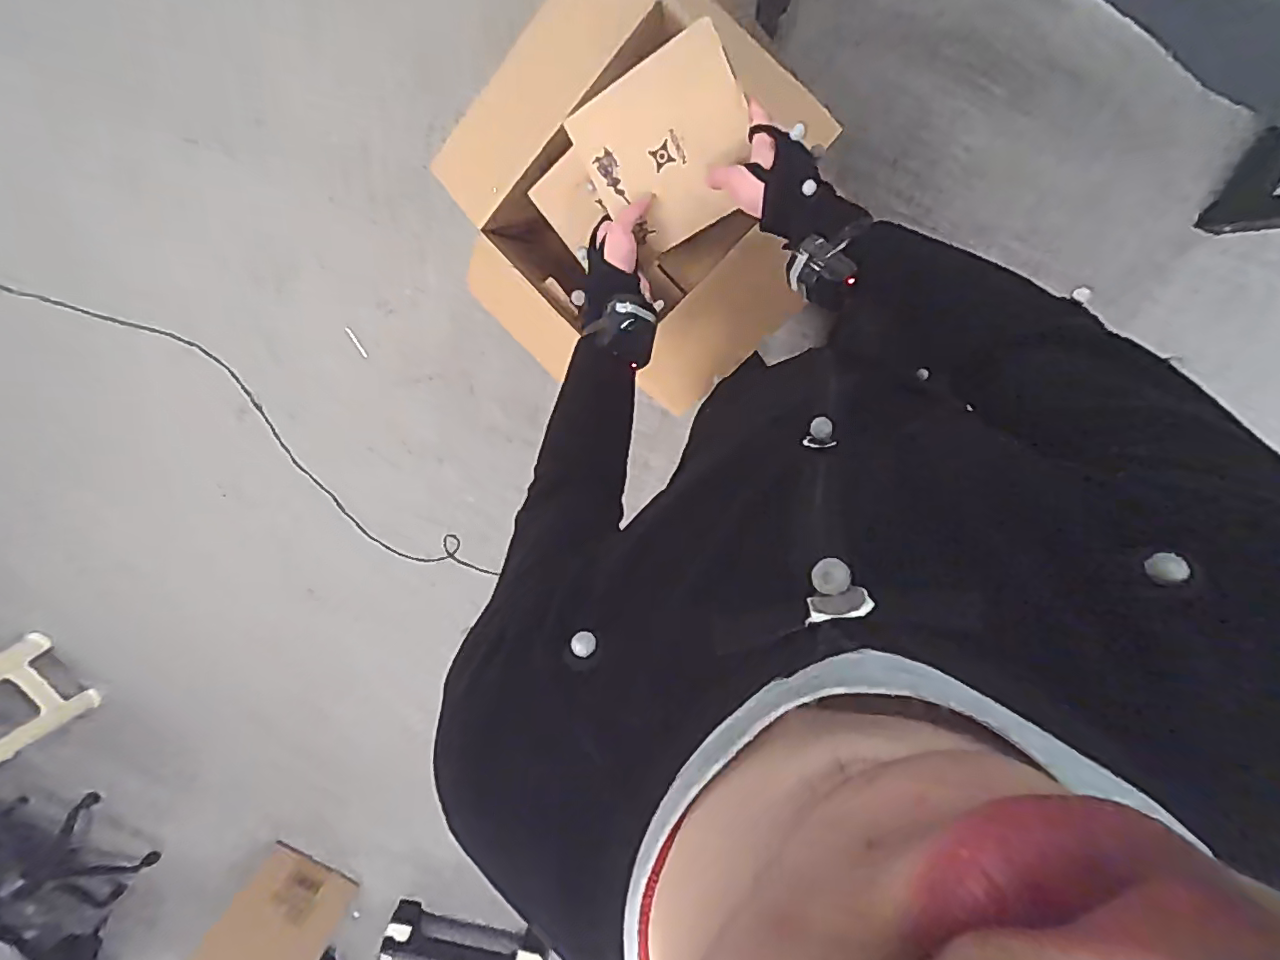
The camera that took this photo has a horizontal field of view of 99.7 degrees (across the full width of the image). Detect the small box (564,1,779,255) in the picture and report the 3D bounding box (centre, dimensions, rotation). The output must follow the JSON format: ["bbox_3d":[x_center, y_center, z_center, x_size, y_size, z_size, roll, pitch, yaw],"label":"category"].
[{"bbox_3d":[0.043,-0.385,0.622,0.179,0.176,0.168,-22,111,20],"label":"small box"}]
